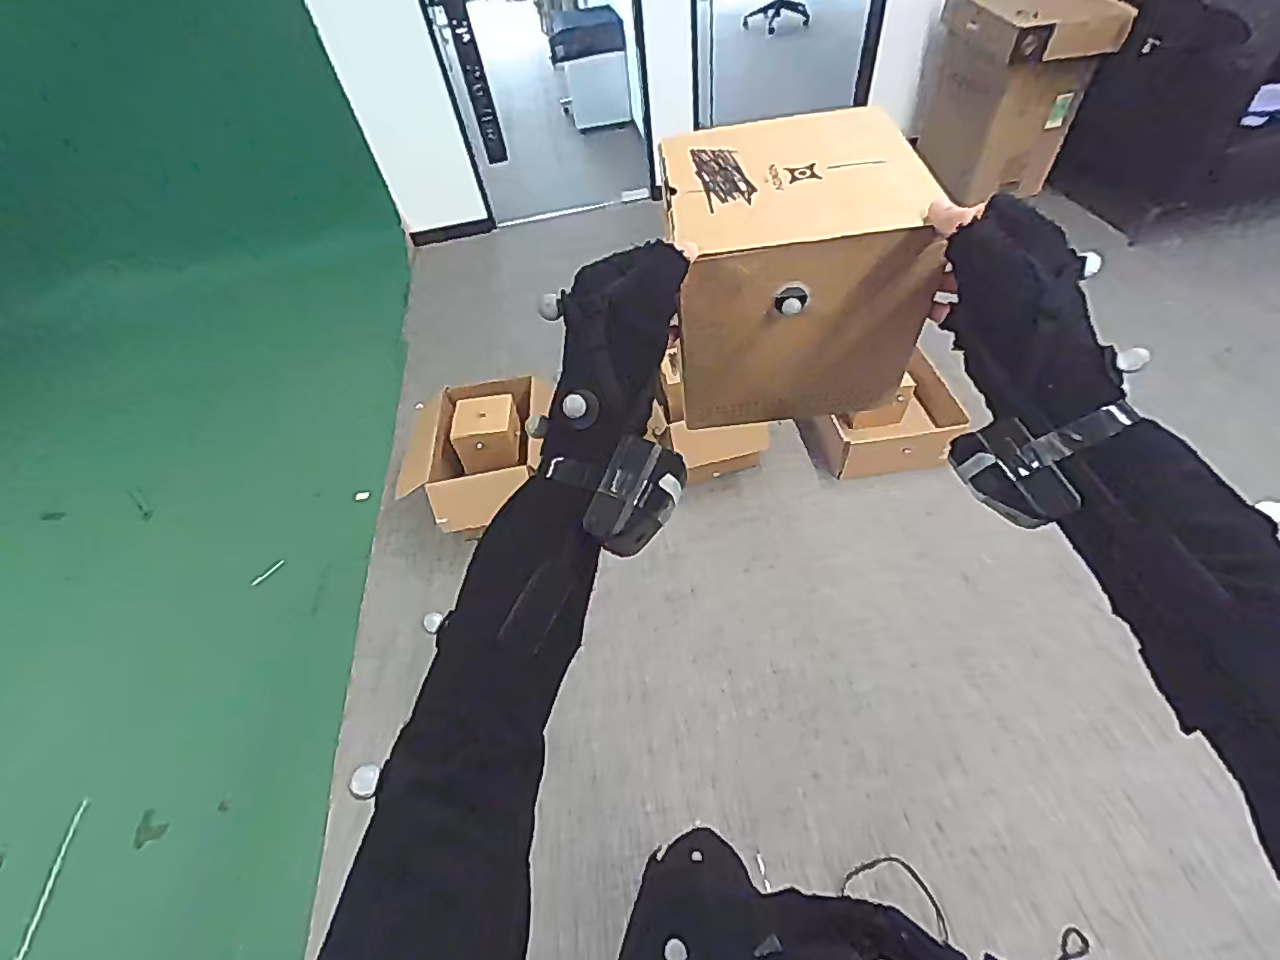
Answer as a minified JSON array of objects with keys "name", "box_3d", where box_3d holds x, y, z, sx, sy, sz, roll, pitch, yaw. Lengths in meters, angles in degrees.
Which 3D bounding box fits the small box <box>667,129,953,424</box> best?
[{"name":"small box","box_3d":[0.120,-0.162,0.458,0.179,0.176,0.168,-5,54,3]}]

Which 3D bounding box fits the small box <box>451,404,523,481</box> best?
[{"name":"small box","box_3d":[-0.475,-0.116,1.713,0.179,0.176,0.168,-7,49,0]}]
